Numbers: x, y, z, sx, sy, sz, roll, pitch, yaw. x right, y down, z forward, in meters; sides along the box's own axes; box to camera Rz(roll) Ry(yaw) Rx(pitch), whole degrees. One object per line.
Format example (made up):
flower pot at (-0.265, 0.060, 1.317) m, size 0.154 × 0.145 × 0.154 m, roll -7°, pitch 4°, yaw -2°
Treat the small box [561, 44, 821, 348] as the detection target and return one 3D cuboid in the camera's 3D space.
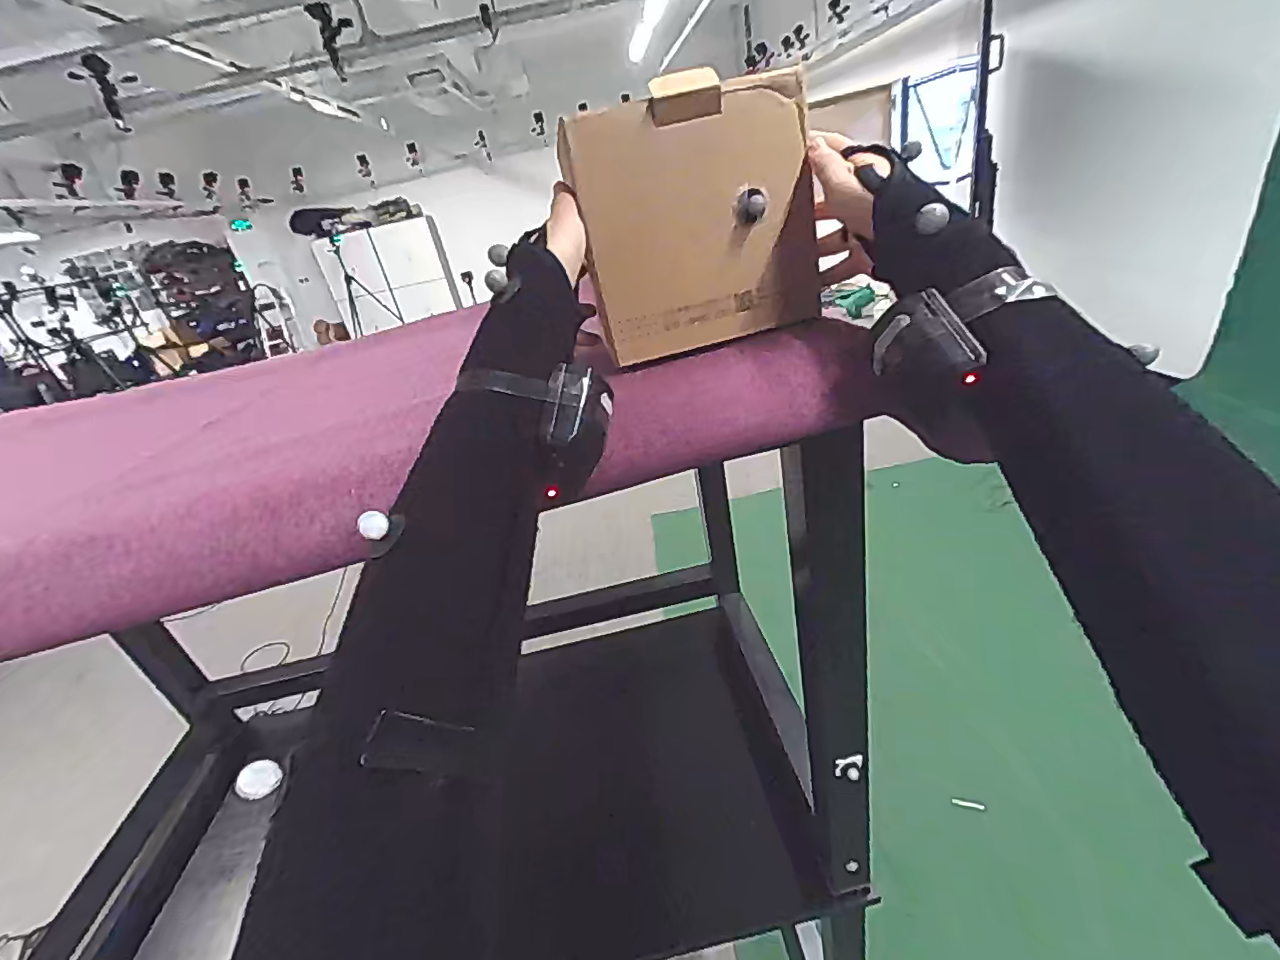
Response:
small box at (0.036, -0.217, 0.450) m, size 0.168 × 0.176 × 0.179 m, roll -14°, pitch 25°, yaw -3°
